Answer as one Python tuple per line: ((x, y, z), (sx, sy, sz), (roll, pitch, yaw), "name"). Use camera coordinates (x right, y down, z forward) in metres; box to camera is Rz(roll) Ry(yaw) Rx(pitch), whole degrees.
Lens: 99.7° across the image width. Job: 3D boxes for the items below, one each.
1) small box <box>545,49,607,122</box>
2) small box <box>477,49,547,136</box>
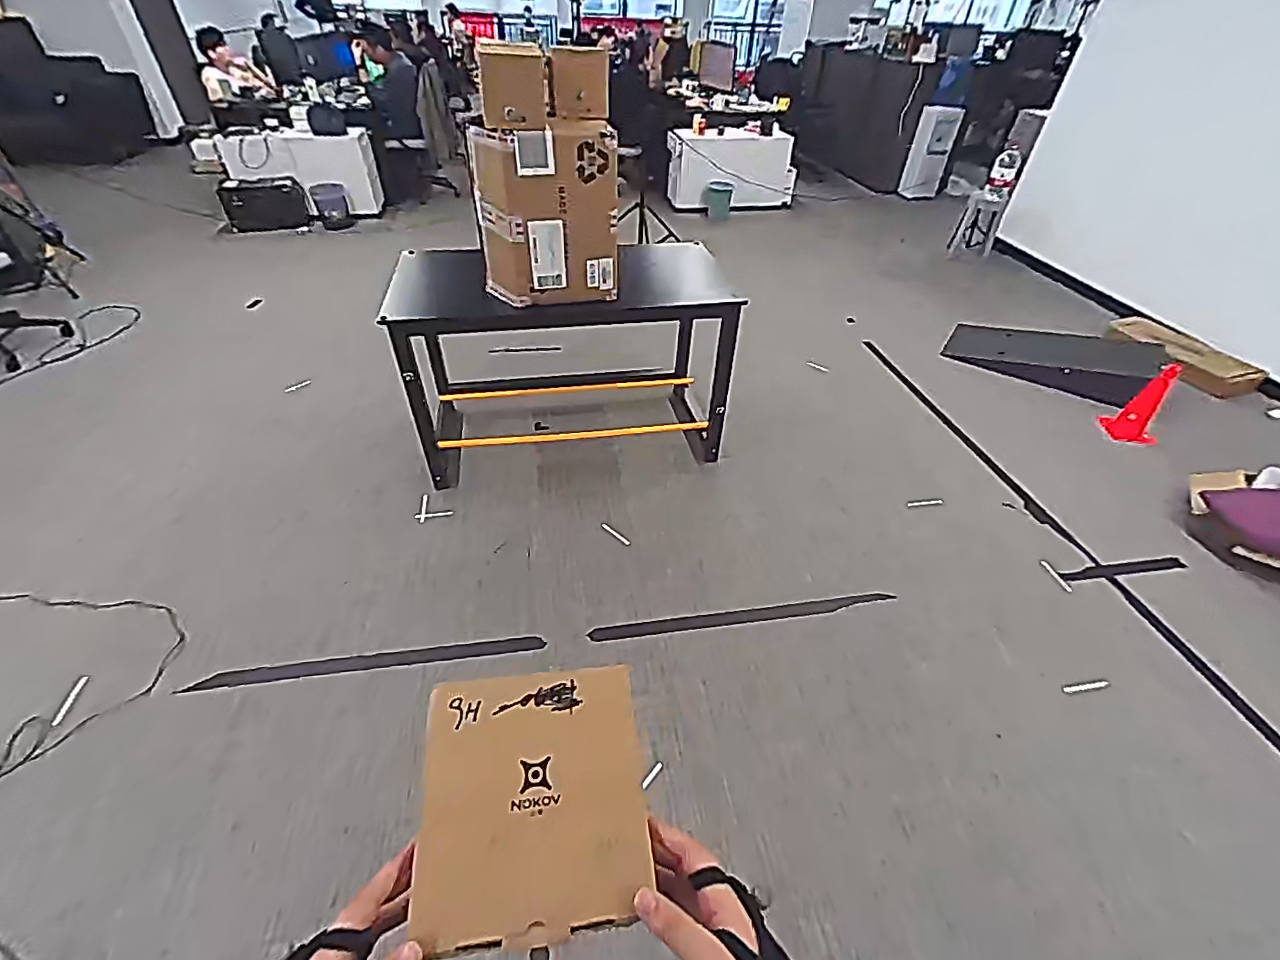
((-0.197, -1.215, 1.664), (0.168, 0.176, 0.179), (-8, 41, -12), "small box")
((-0.349, -1.057, 1.475), (0.168, 0.176, 0.179), (-8, 45, -13), "small box")
